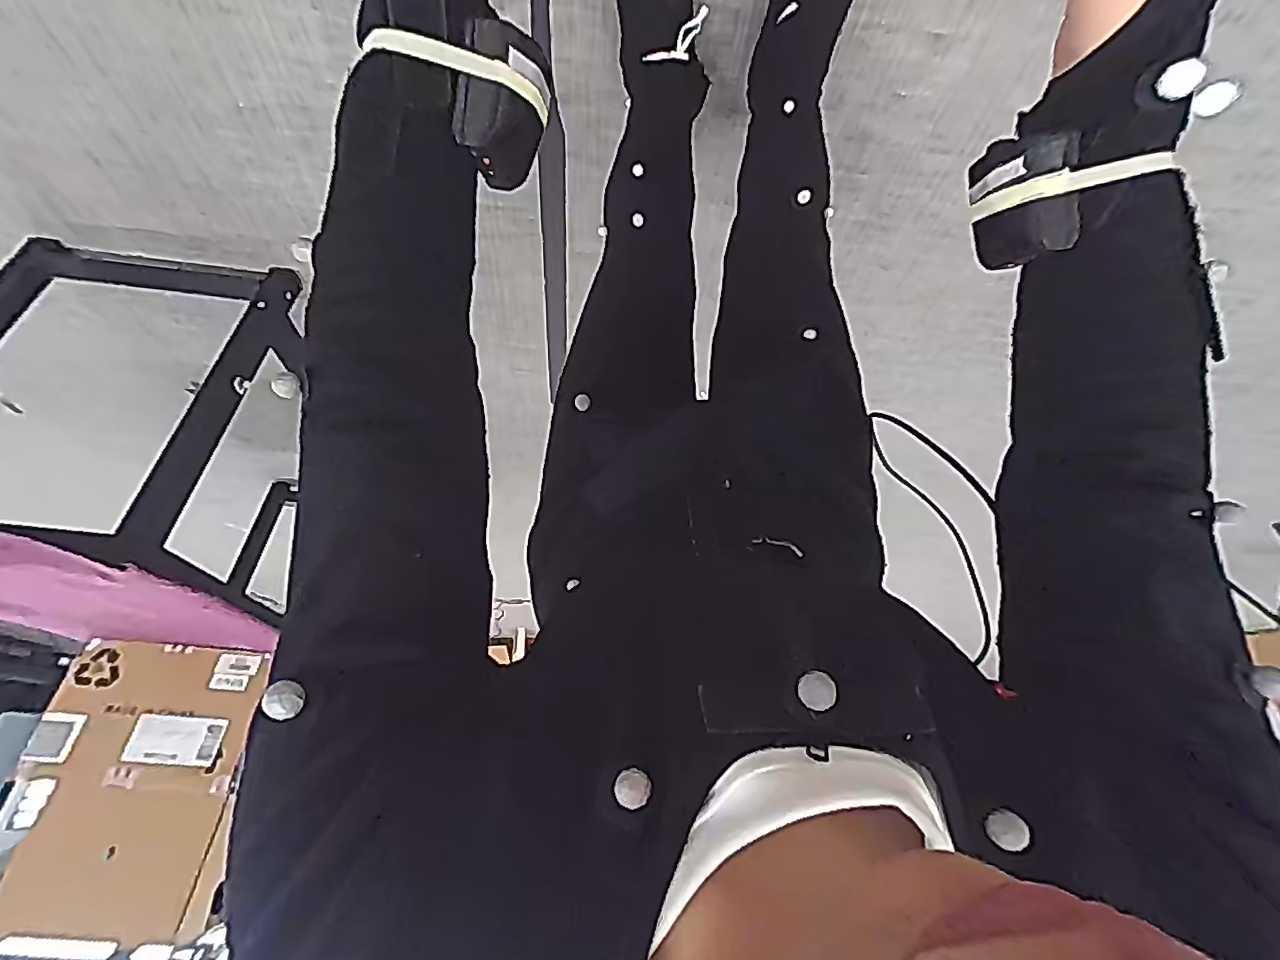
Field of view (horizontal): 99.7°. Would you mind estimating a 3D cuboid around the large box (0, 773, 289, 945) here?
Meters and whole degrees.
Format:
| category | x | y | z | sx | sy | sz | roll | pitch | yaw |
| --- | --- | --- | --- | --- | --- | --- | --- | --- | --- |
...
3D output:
| category | x | y | z | sx | sy | sz | roll | pitch | yaw |
| --- | --- | --- | --- | --- | --- | --- | --- | --- | --- |
| large box | -1.205 | 0.923 | 1.354 | 0.408 | 0.320 | 0.320 | 5 | 152 | -3 |
